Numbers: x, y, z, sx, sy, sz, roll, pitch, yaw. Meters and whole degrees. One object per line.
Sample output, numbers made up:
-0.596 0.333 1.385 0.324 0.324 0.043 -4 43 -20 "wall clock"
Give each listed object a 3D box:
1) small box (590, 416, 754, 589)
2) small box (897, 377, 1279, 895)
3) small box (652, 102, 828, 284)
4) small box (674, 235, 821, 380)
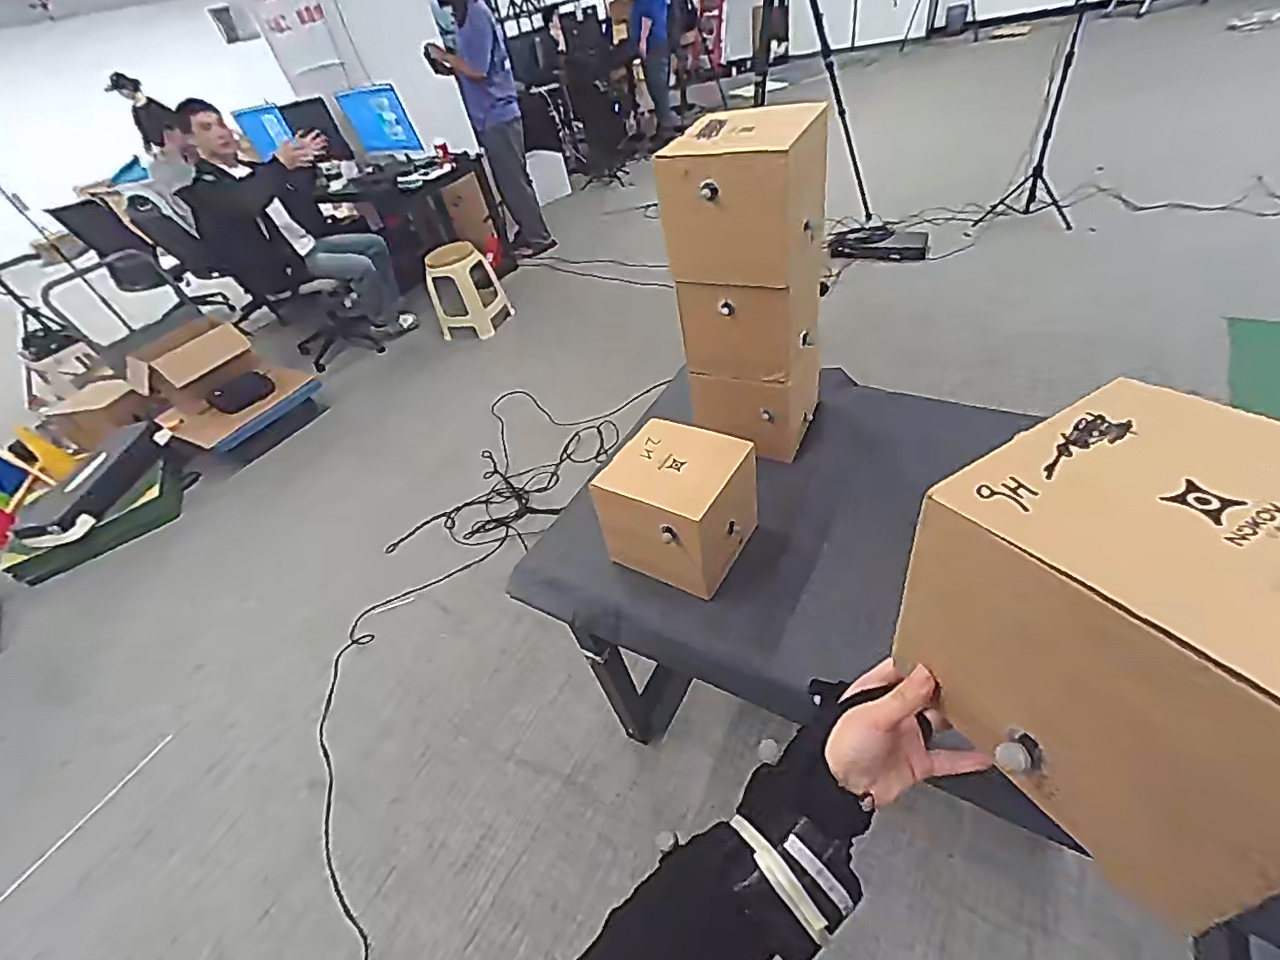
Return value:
0.057 0.035 0.796 0.179 0.176 0.168 18 49 30 "small box"
0.270 0.077 0.288 0.168 0.176 0.179 -26 41 -16 "small box"
0.141 -0.384 0.733 0.179 0.176 0.168 15 53 27 "small box"
0.174 -0.277 0.853 0.179 0.176 0.168 13 52 25 "small box"
